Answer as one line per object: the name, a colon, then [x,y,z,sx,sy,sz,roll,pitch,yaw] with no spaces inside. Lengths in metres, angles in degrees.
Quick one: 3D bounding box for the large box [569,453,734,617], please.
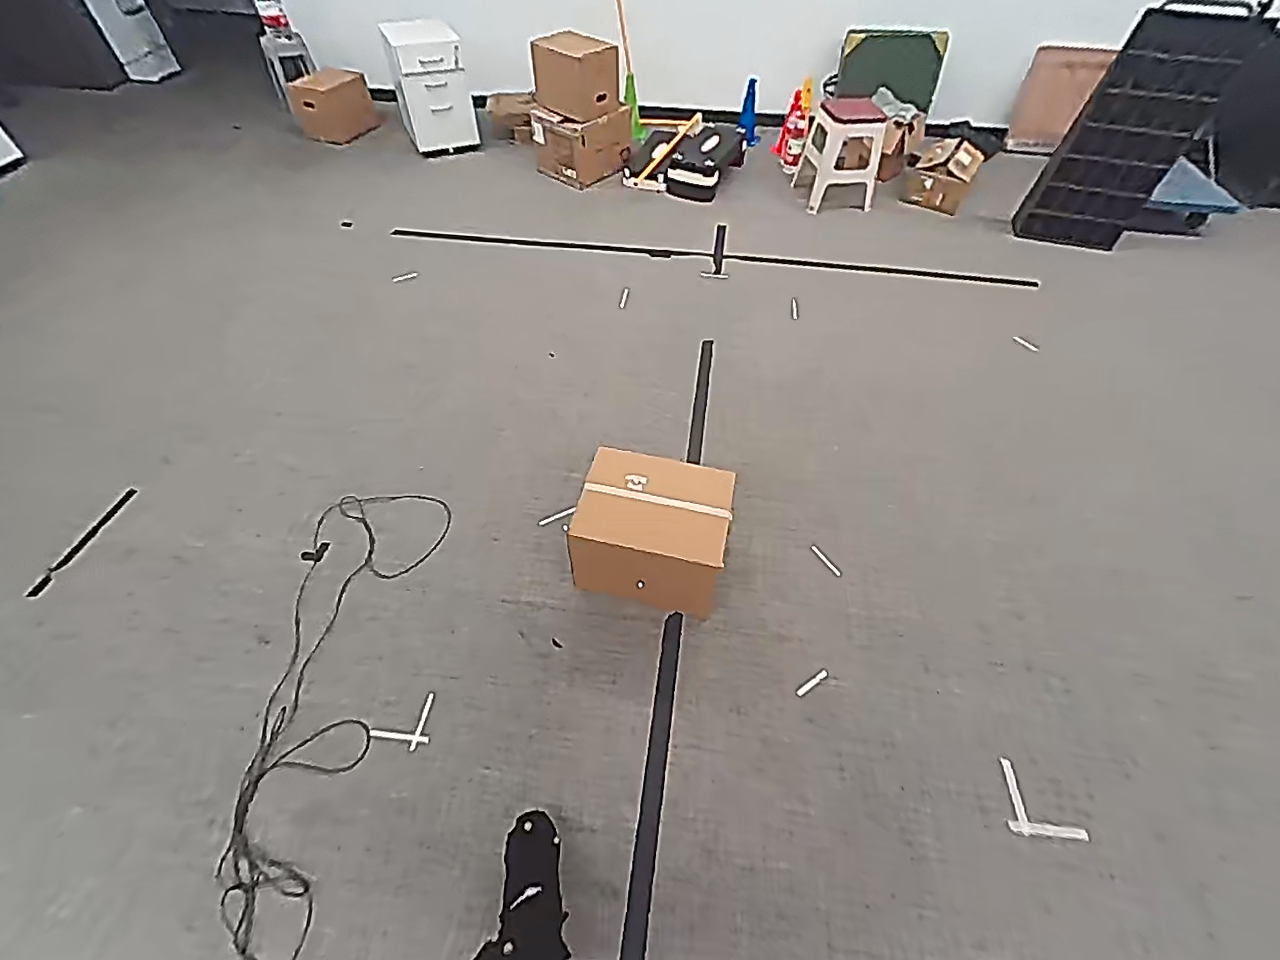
large box: [0.042,0.164,1.575,0.408,0.320,0.320,11,52,8]
